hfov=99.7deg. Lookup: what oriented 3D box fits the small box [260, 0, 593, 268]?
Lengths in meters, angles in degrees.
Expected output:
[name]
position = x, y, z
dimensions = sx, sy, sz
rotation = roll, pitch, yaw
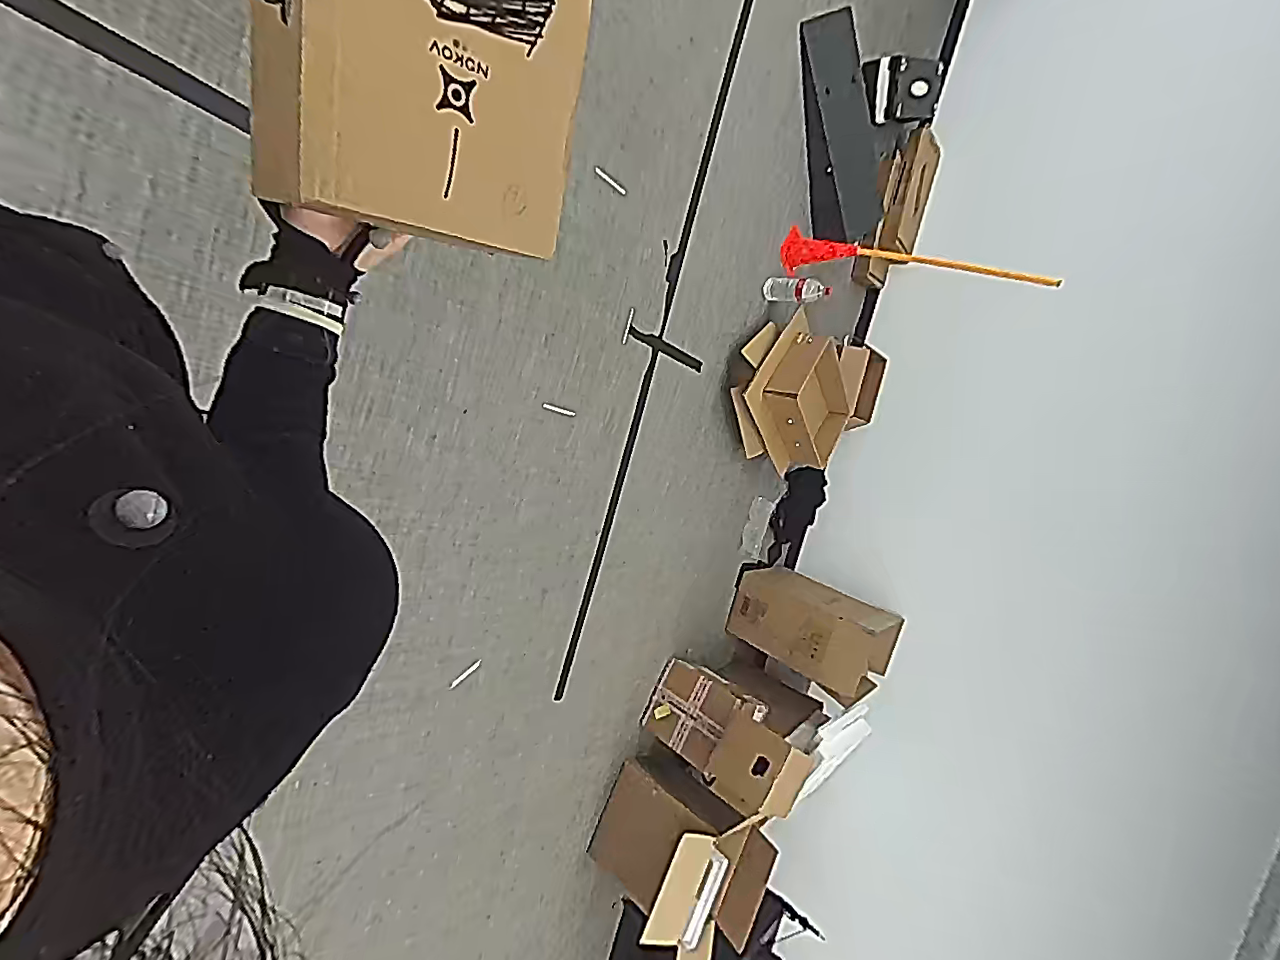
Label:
[small box]
position = -0.160, -0.268, 0.388
dimensions = 0.168, 0.176, 0.179
rotation = -4, 115, -43
